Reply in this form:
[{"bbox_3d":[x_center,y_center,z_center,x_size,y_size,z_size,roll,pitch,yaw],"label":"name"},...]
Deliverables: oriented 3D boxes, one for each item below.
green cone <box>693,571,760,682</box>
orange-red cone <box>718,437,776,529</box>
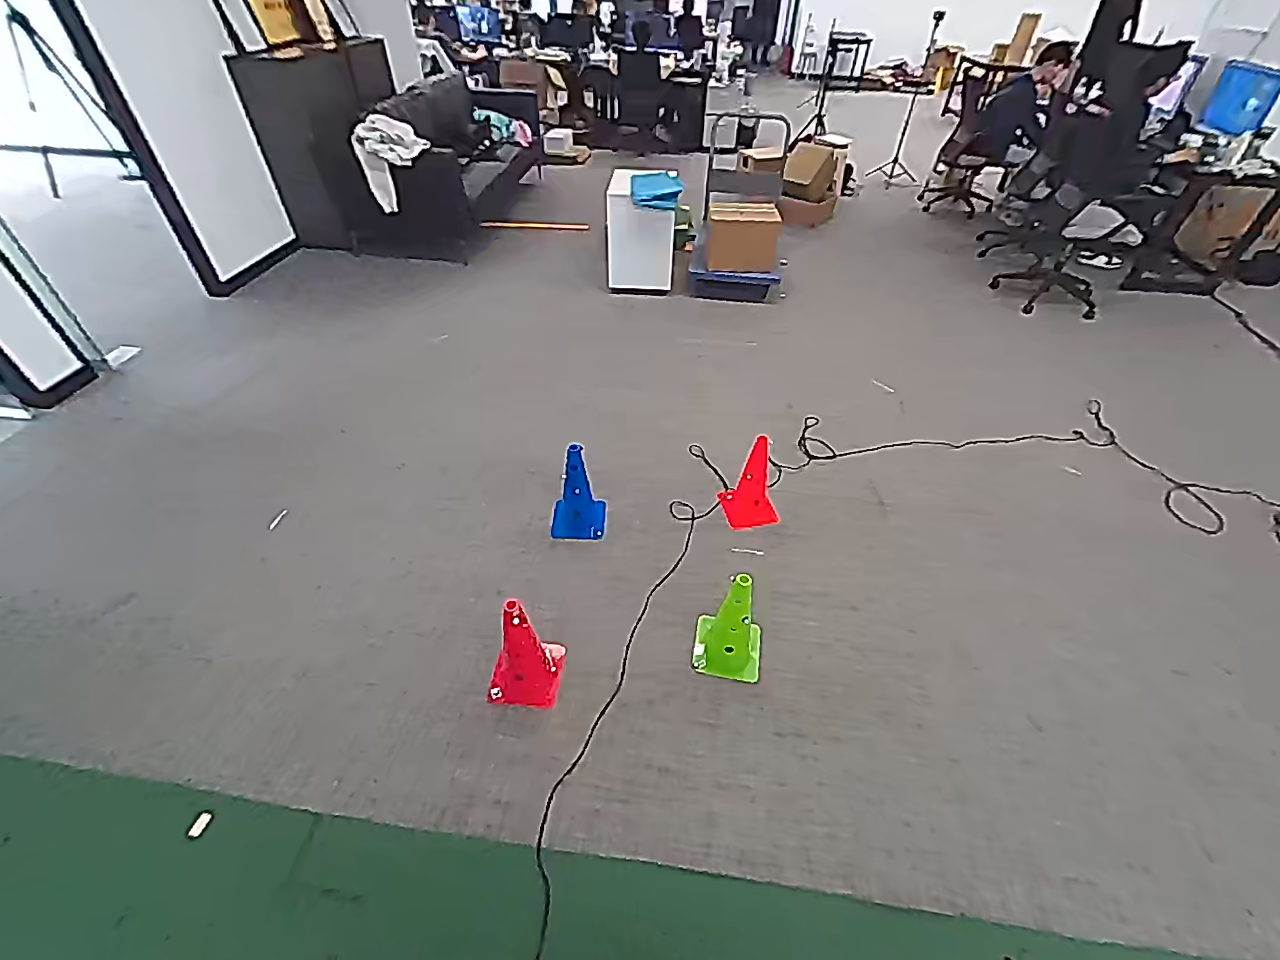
[{"bbox_3d":[0.276,0.396,1.562,0.200,0.368,0.202,8,42,6],"label":"green cone"},{"bbox_3d":[0.421,-0.012,2.008,0.198,0.360,0.199,-7,45,-8],"label":"orange-red cone"}]
